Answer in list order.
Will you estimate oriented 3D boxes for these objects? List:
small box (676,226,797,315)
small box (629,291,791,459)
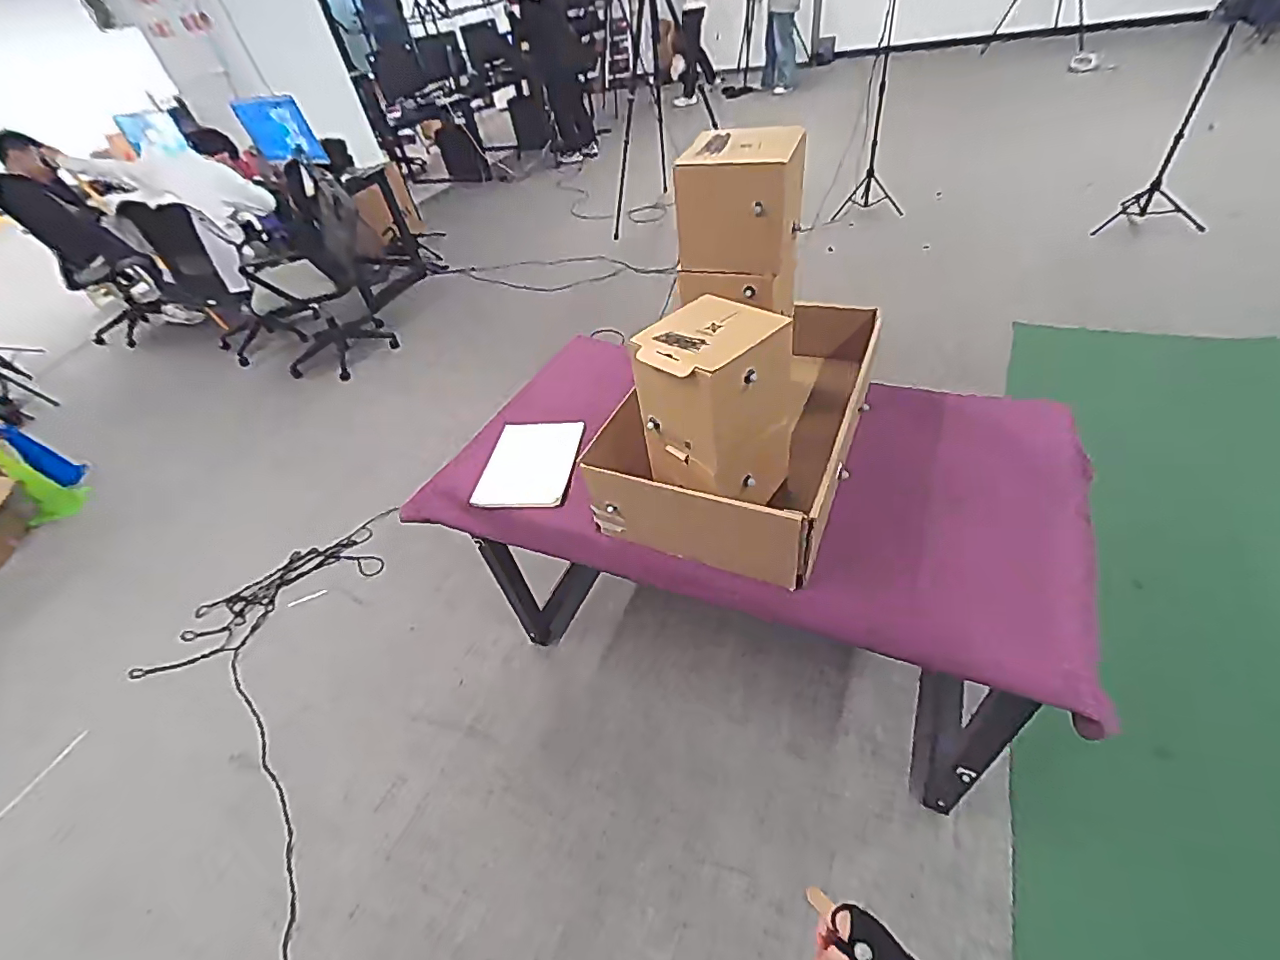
[{"bbox_3d":[0.185,-0.357,1.013,0.179,0.176,0.168,12,51,22],"label":"small box"},{"bbox_3d":[0.111,-0.160,0.822,0.179,0.176,0.168,-36,48,-25],"label":"small box"}]
